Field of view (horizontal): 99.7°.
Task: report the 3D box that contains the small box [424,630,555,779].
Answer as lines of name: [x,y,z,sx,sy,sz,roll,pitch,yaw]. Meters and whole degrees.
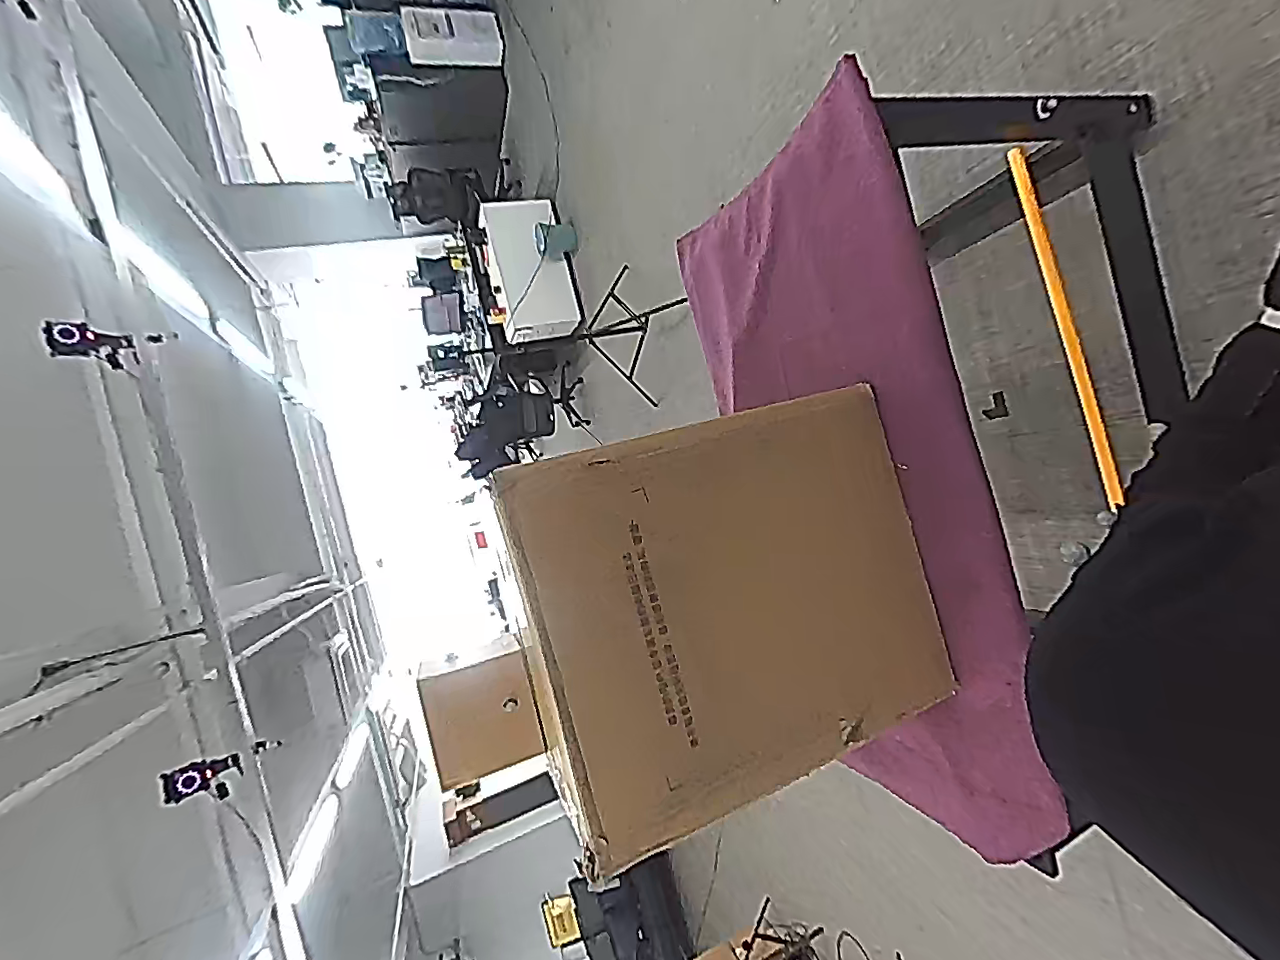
small box: [-0.256,0.375,0.918,0.168,0.176,0.179,164,92,-71]
